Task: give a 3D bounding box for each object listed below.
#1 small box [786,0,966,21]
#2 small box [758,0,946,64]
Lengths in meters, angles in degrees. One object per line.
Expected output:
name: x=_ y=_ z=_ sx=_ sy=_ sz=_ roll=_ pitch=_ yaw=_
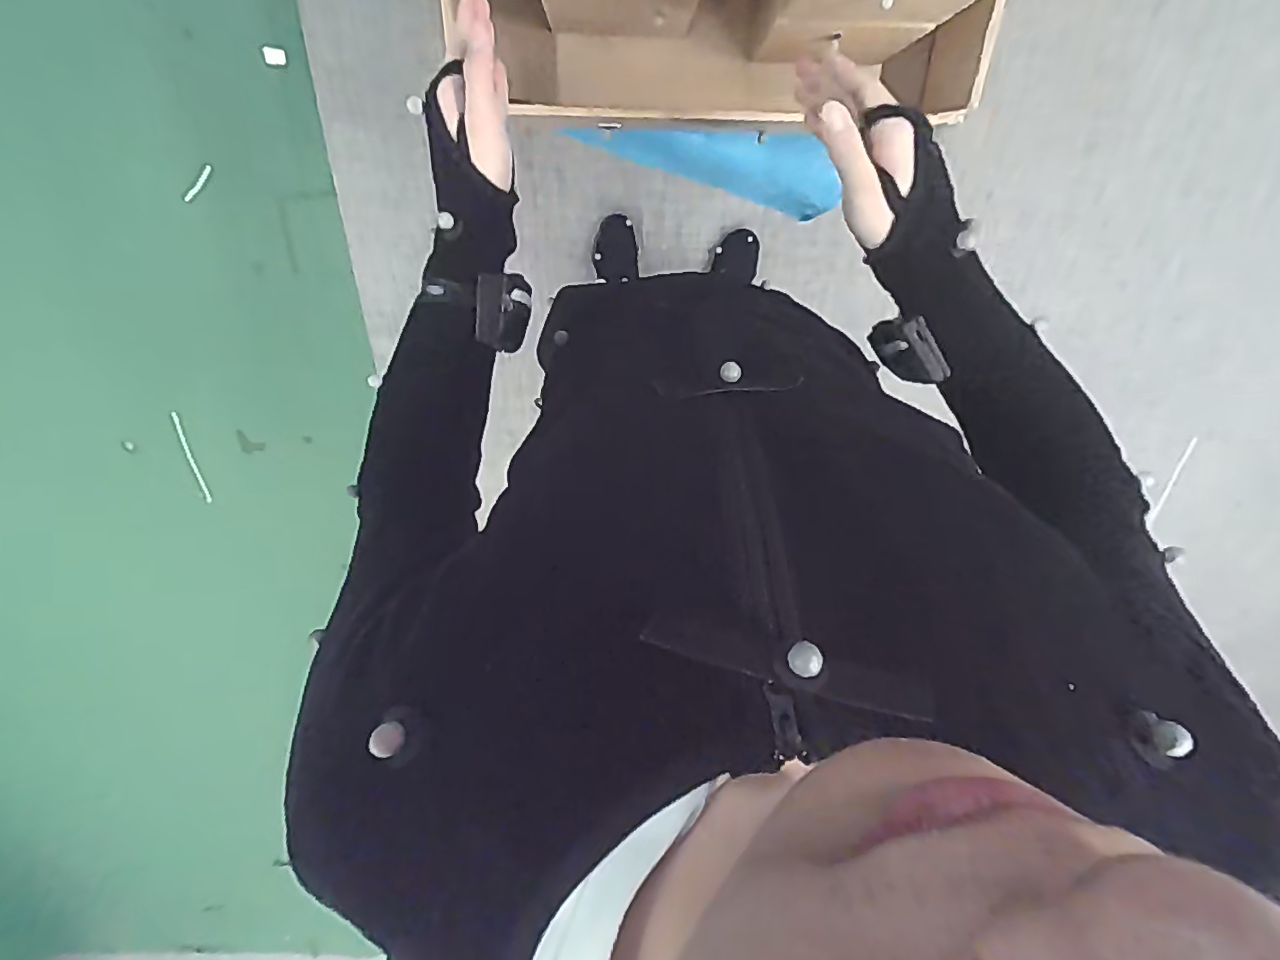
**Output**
small box: x=0.235 y=-0.519 z=0.456 sx=0.179 sy=0.176 sz=0.168 roll=2 pitch=115 yaw=1
small box: x=0.237 y=-0.588 z=0.604 sx=0.179 sy=0.176 sz=0.168 roll=2 pitch=116 yaw=0
